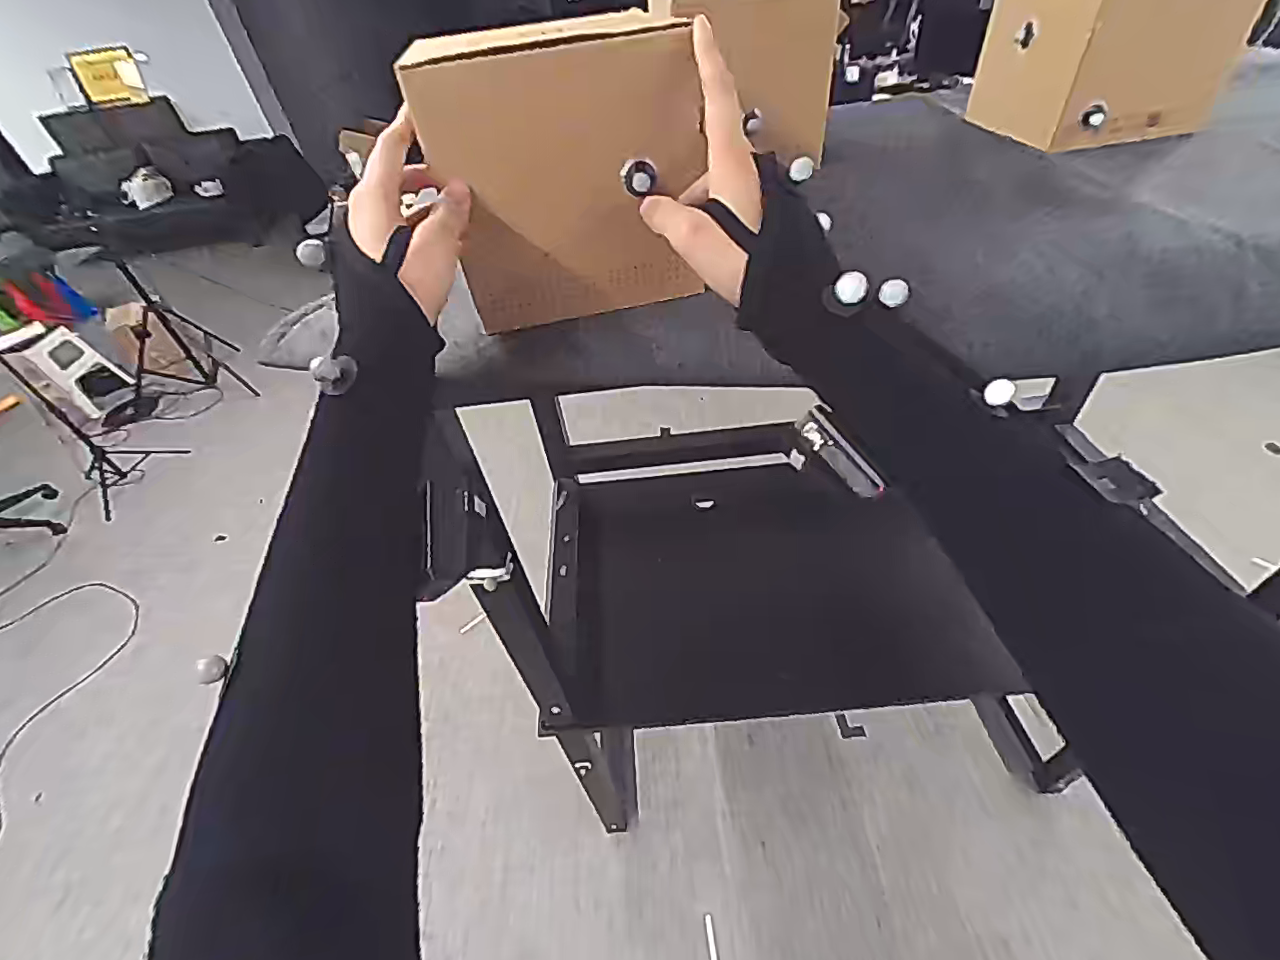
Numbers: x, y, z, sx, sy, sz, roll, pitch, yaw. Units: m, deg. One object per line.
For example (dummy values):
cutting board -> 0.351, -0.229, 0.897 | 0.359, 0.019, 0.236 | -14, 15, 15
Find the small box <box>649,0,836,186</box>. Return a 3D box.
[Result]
small box -> 0.104, -0.457, 0.619 | 0.168, 0.176, 0.179 | -9, 45, 0

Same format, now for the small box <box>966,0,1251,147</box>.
small box -> 0.494, -0.473, 0.579 | 0.168, 0.176, 0.179 | -8, 43, 0

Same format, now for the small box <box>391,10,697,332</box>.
small box -> -0.062, -0.236, 0.414 | 0.179, 0.176, 0.168 | -13, 44, -5
